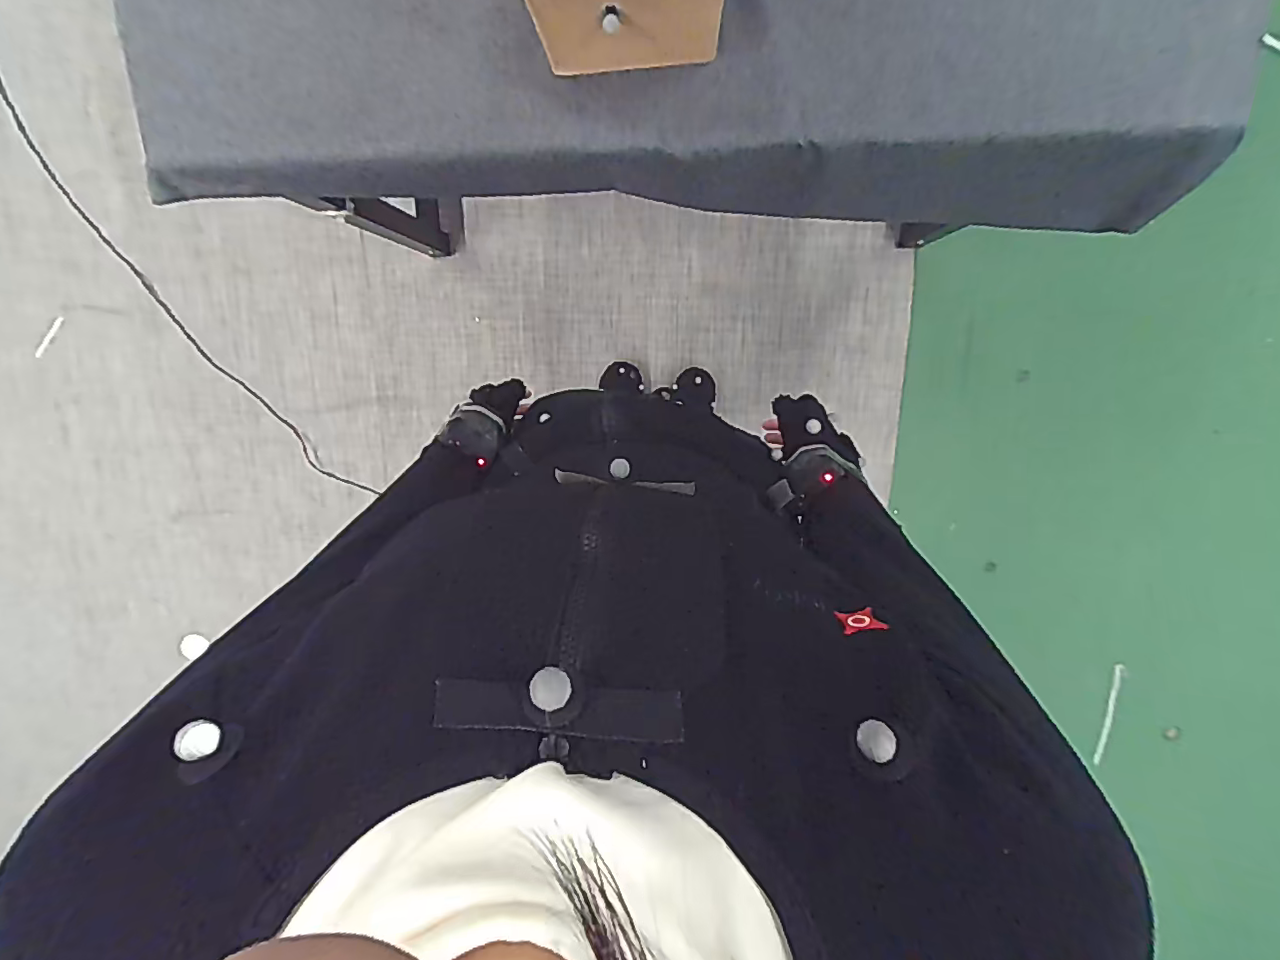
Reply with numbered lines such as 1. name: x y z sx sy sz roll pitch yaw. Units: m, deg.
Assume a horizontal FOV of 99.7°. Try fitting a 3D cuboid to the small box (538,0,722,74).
1. small box: -0.015 -0.512 0.495 0.179 0.176 0.168 -6 100 4
